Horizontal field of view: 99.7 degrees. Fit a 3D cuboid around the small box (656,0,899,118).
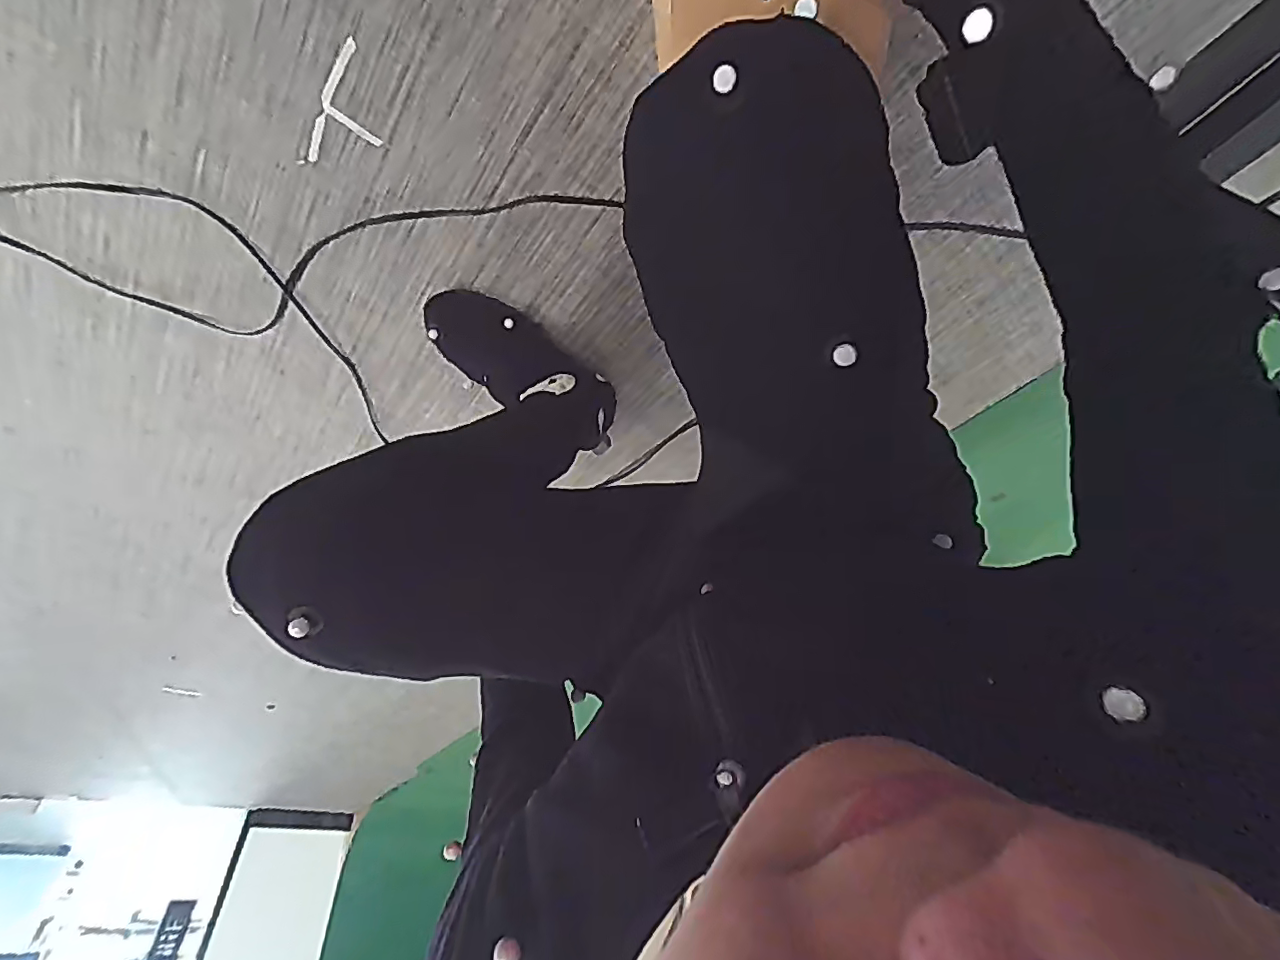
[{"bbox_3d":[0.095,-0.417,0.417,0.168,0.176,0.179,-8,139,5],"label":"small box"}]
